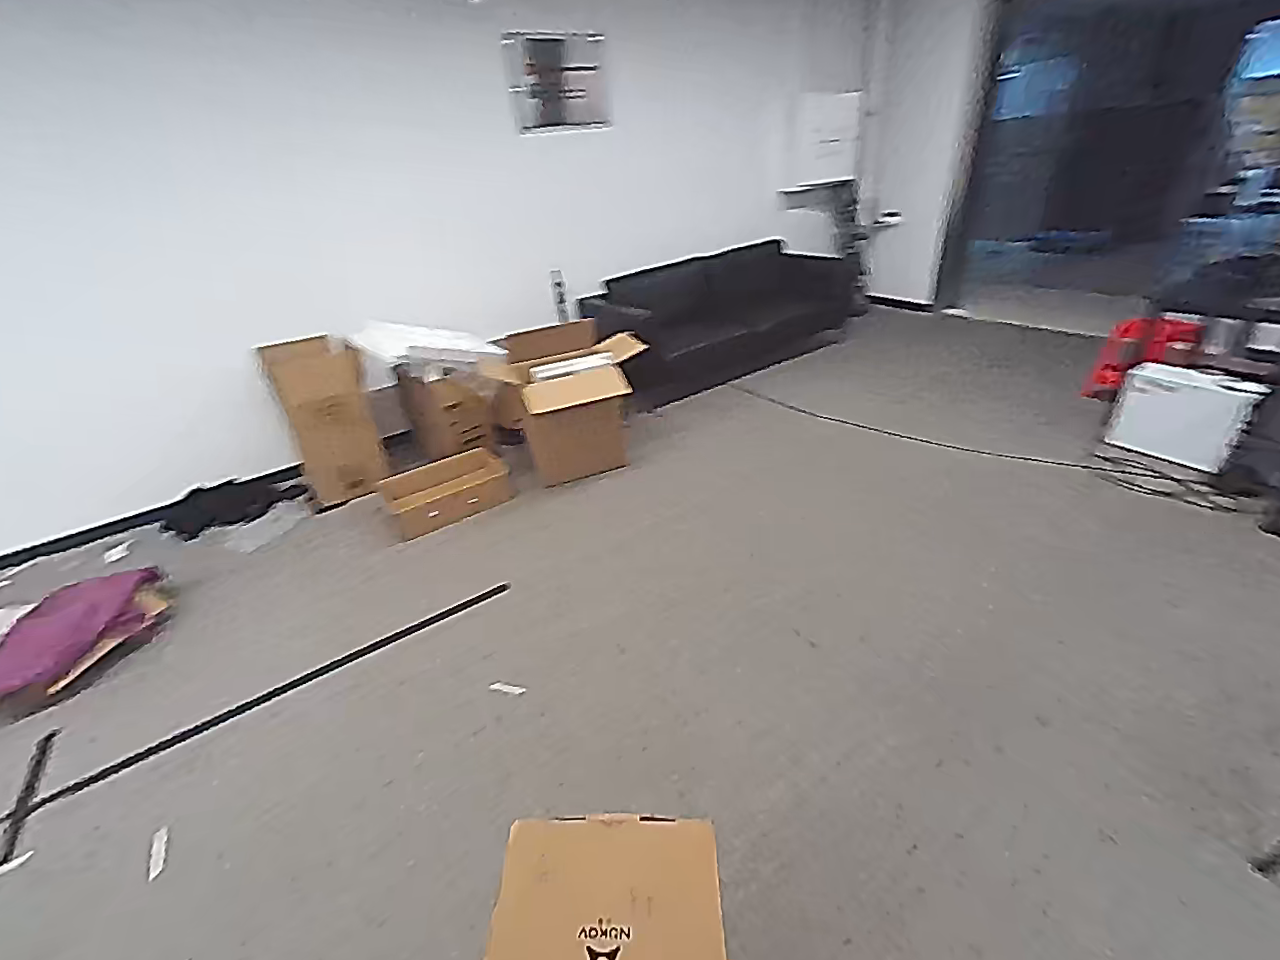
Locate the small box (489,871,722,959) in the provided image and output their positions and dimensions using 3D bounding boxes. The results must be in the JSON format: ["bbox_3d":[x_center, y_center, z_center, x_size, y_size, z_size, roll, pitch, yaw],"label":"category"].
[{"bbox_3d":[-0.024,0.420,0.387,0.168,0.176,0.179,-1,30,1],"label":"small box"}]
